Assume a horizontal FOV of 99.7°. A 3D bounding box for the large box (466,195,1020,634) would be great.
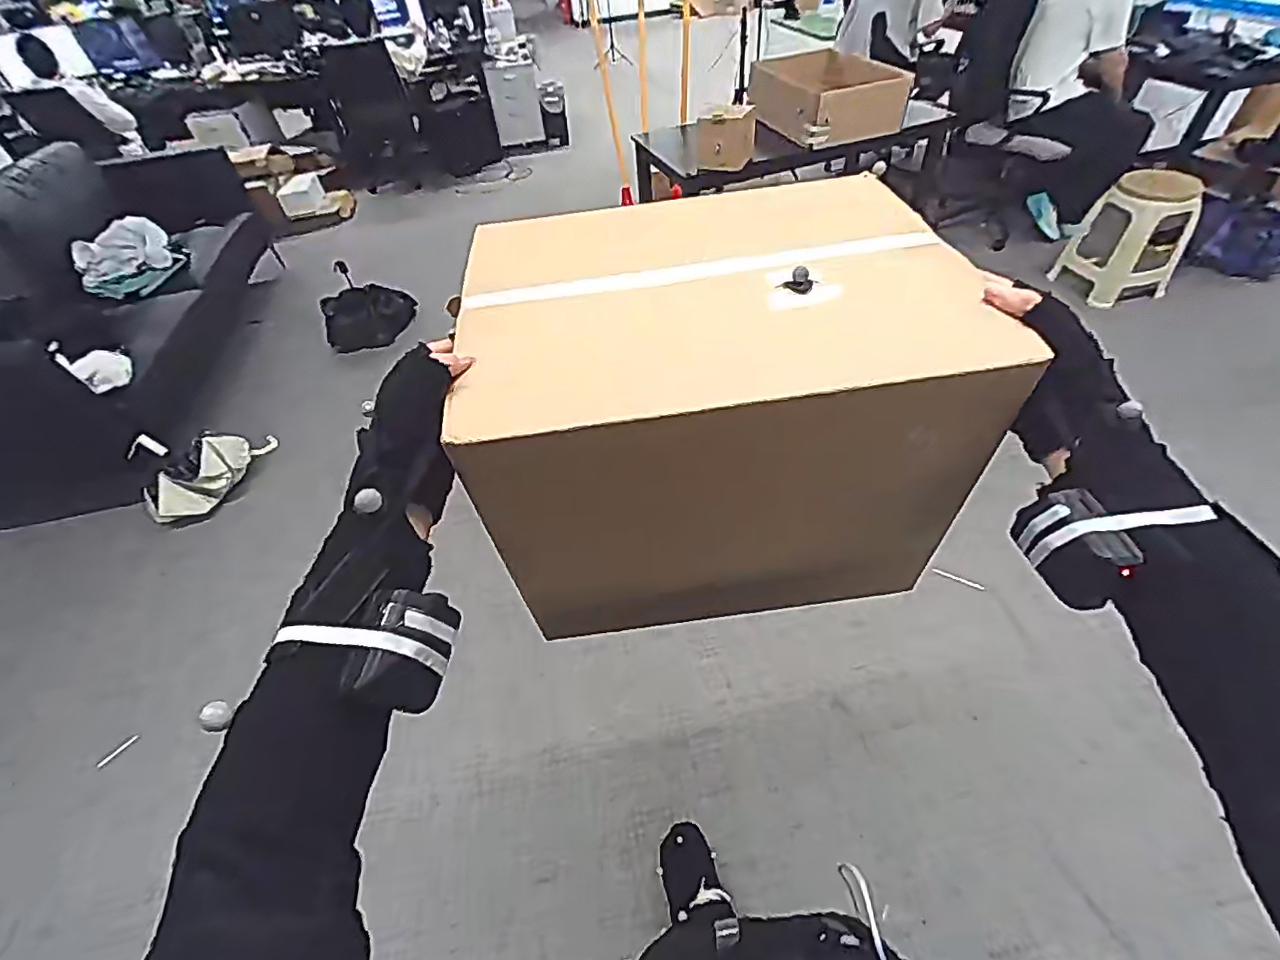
[{"bbox_3d":[0.065,-0.066,0.582,0.408,0.320,0.320,-8,50,-1],"label":"large box"}]
